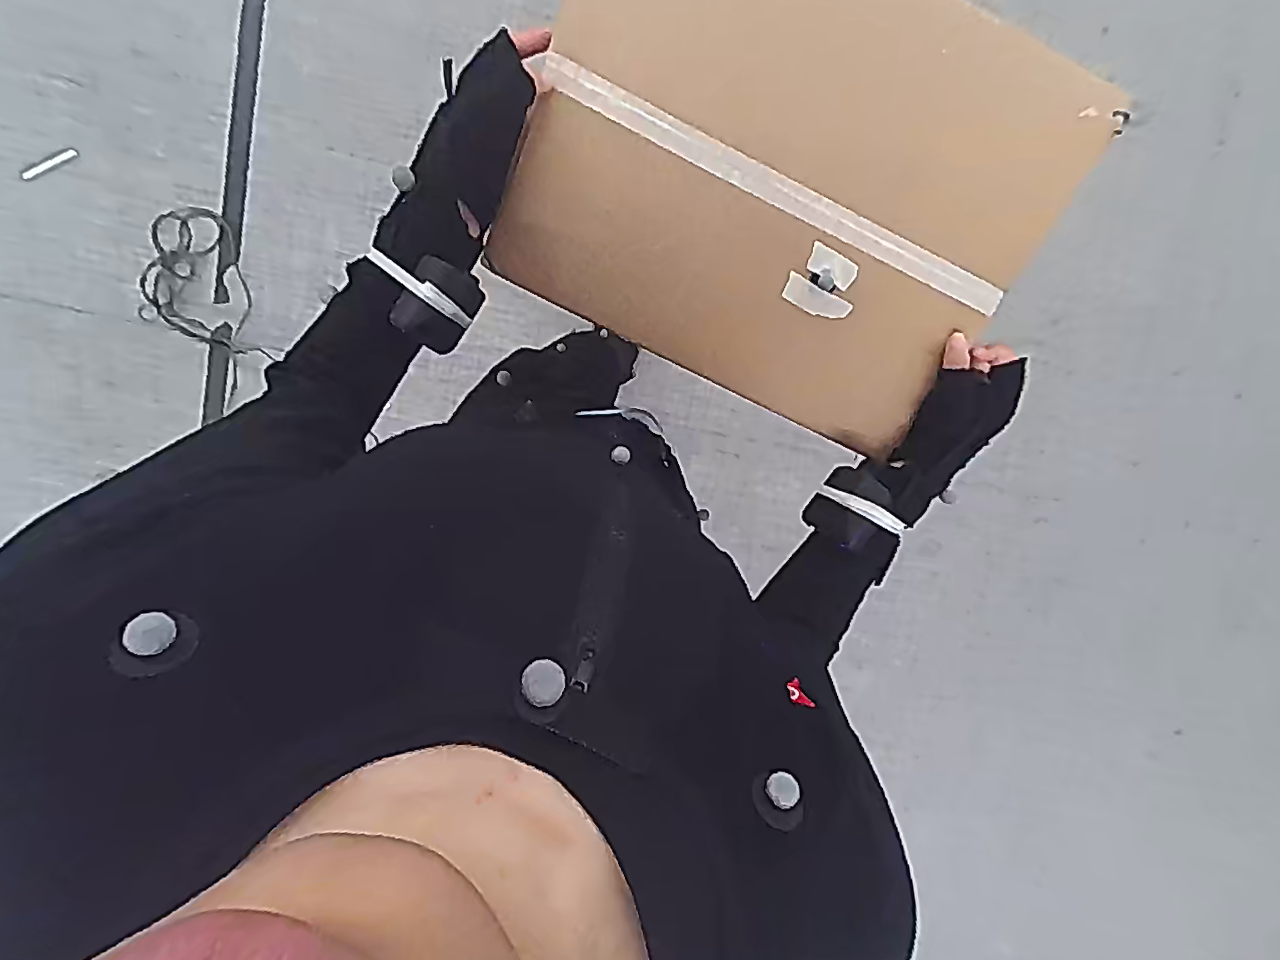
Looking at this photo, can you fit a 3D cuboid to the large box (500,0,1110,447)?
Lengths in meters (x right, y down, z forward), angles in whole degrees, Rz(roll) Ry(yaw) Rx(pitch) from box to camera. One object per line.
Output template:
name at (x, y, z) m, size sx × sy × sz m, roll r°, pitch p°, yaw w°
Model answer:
large box at (0.124, -0.289, 0.580) m, size 0.408 × 0.320 × 0.320 m, roll 25°, pitch 111°, yaw -6°
